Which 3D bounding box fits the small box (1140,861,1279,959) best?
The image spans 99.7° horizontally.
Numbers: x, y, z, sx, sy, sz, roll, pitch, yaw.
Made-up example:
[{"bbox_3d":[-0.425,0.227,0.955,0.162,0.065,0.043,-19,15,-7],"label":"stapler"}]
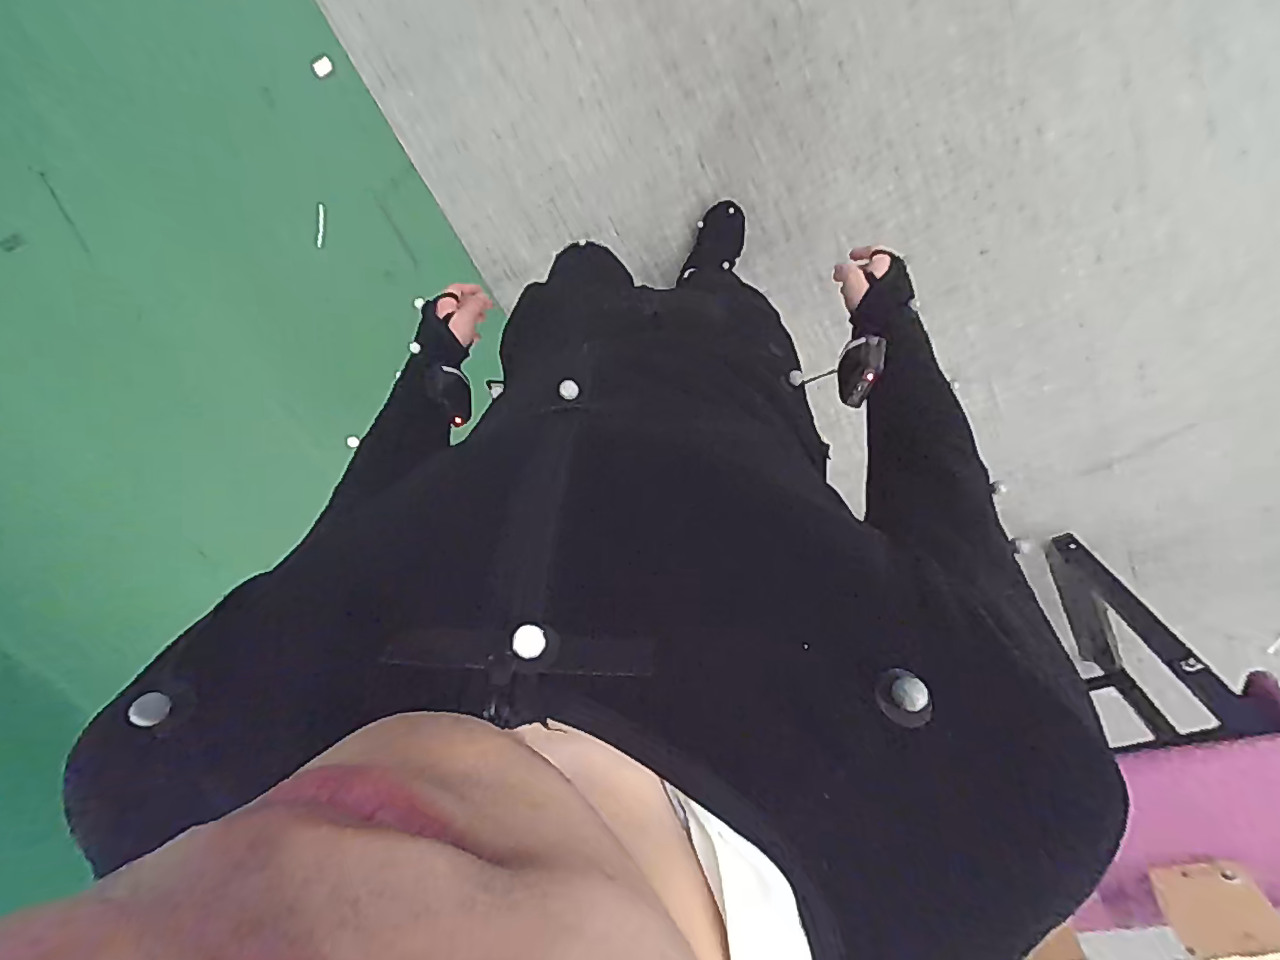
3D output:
[{"bbox_3d":[1.225,0.948,1.157,0.168,0.176,0.179,-24,112,20],"label":"small box"}]
